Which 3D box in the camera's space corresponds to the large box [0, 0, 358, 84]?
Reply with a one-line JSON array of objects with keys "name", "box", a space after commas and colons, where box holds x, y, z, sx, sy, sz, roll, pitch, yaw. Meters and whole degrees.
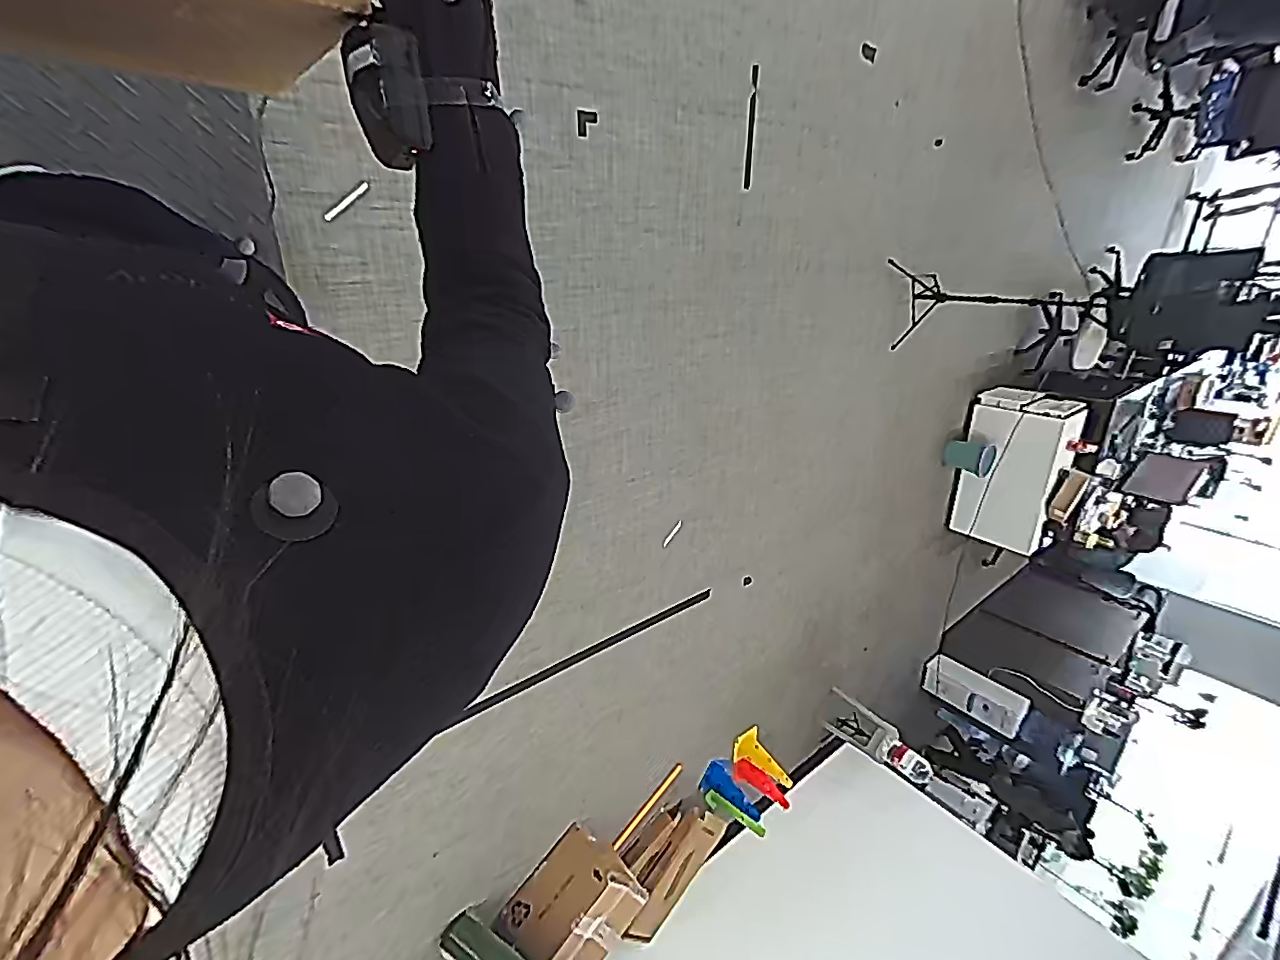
[{"name": "large box", "box": [-0.401, -0.412, 0.232, 0.408, 0.320, 0.320, -17, 122, -37]}]
